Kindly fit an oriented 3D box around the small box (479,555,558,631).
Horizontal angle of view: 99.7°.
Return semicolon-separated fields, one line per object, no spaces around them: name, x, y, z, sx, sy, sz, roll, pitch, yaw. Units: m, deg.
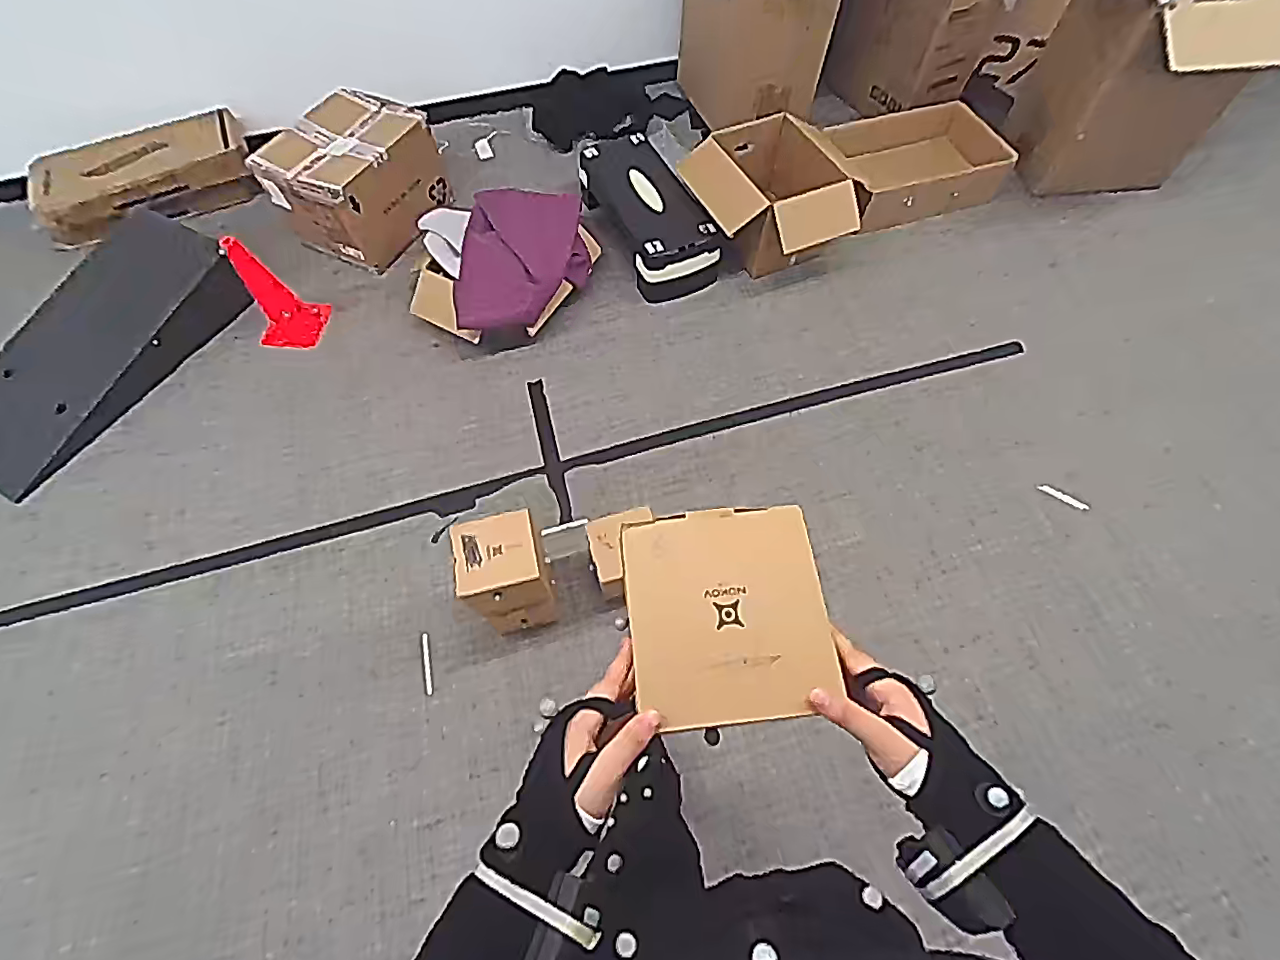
small box;-0.309;0.273;1.364;0.168;0.176;0.179;-13;64;-5

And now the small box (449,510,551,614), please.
small box;-0.312;0.190;1.219;0.179;0.176;0.168;-13;63;-6

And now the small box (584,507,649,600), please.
small box;-0.036;0.193;1.400;0.179;0.176;0.168;-16;64;-7

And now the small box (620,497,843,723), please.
small box;0.067;0.132;0.519;0.168;0.176;0.179;-5;67;-2
